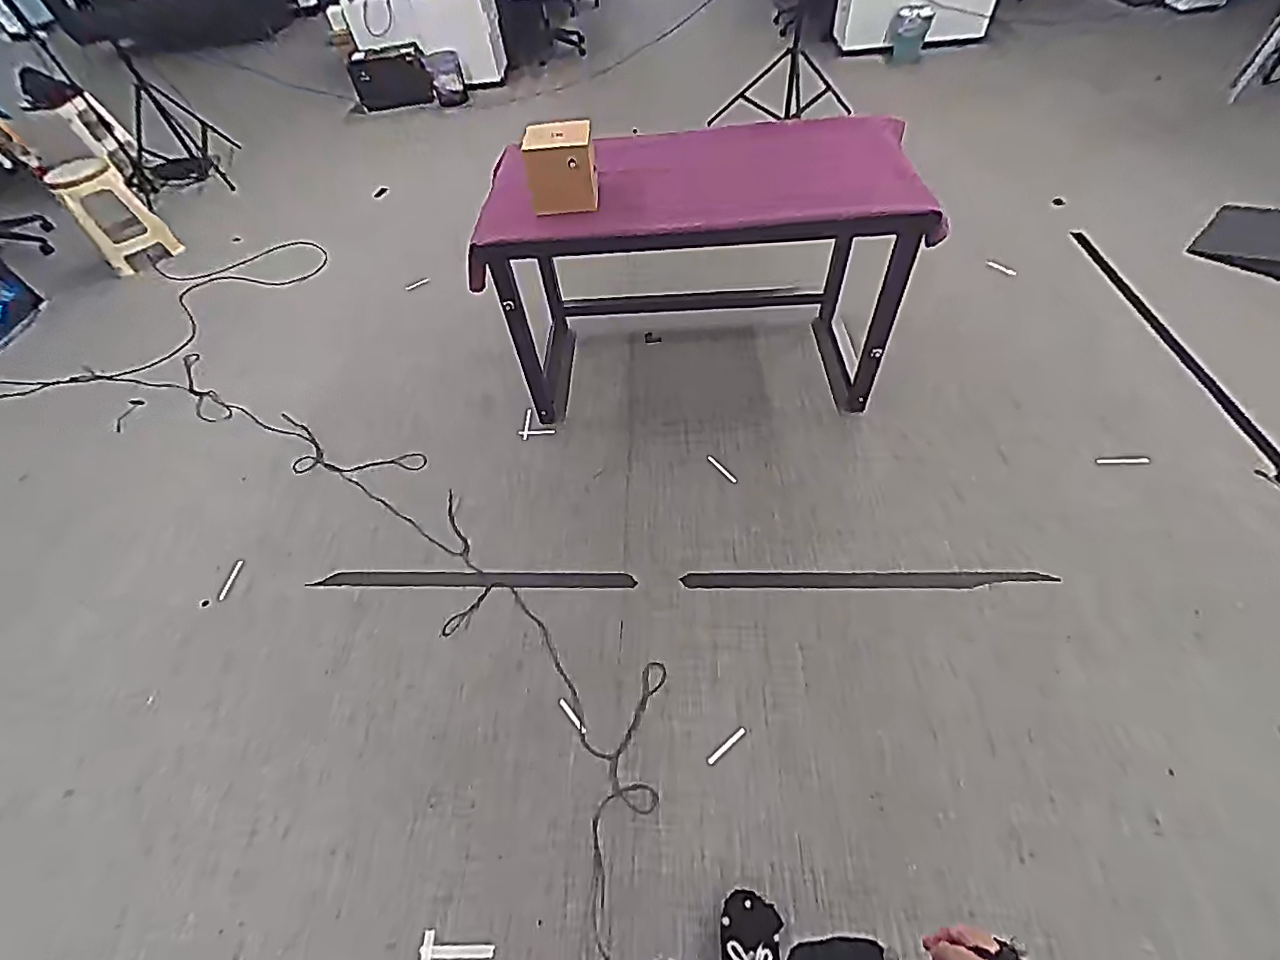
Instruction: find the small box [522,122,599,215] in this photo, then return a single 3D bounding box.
[{"bbox_3d":[-0.209,-0.848,1.478,0.179,0.176,0.168,-4,51,3],"label":"small box"}]
